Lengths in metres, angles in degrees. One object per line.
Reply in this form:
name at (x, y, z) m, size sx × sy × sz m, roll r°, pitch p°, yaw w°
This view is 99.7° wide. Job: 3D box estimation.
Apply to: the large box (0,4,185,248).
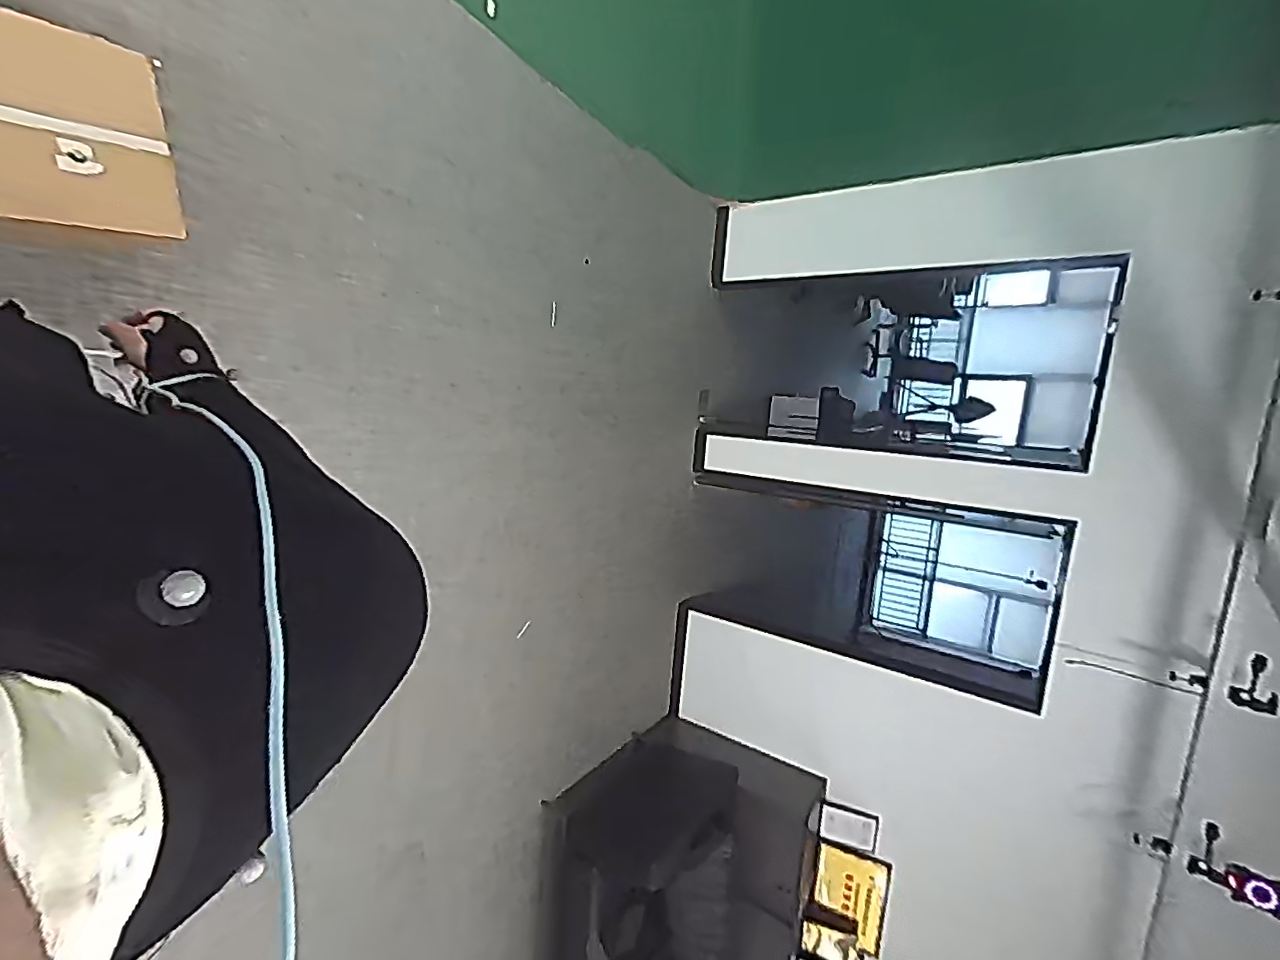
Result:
large box at (-1.126, -0.606, 0.942) m, size 0.408 × 0.320 × 0.320 m, roll -21°, pitch 115°, yaw -54°
